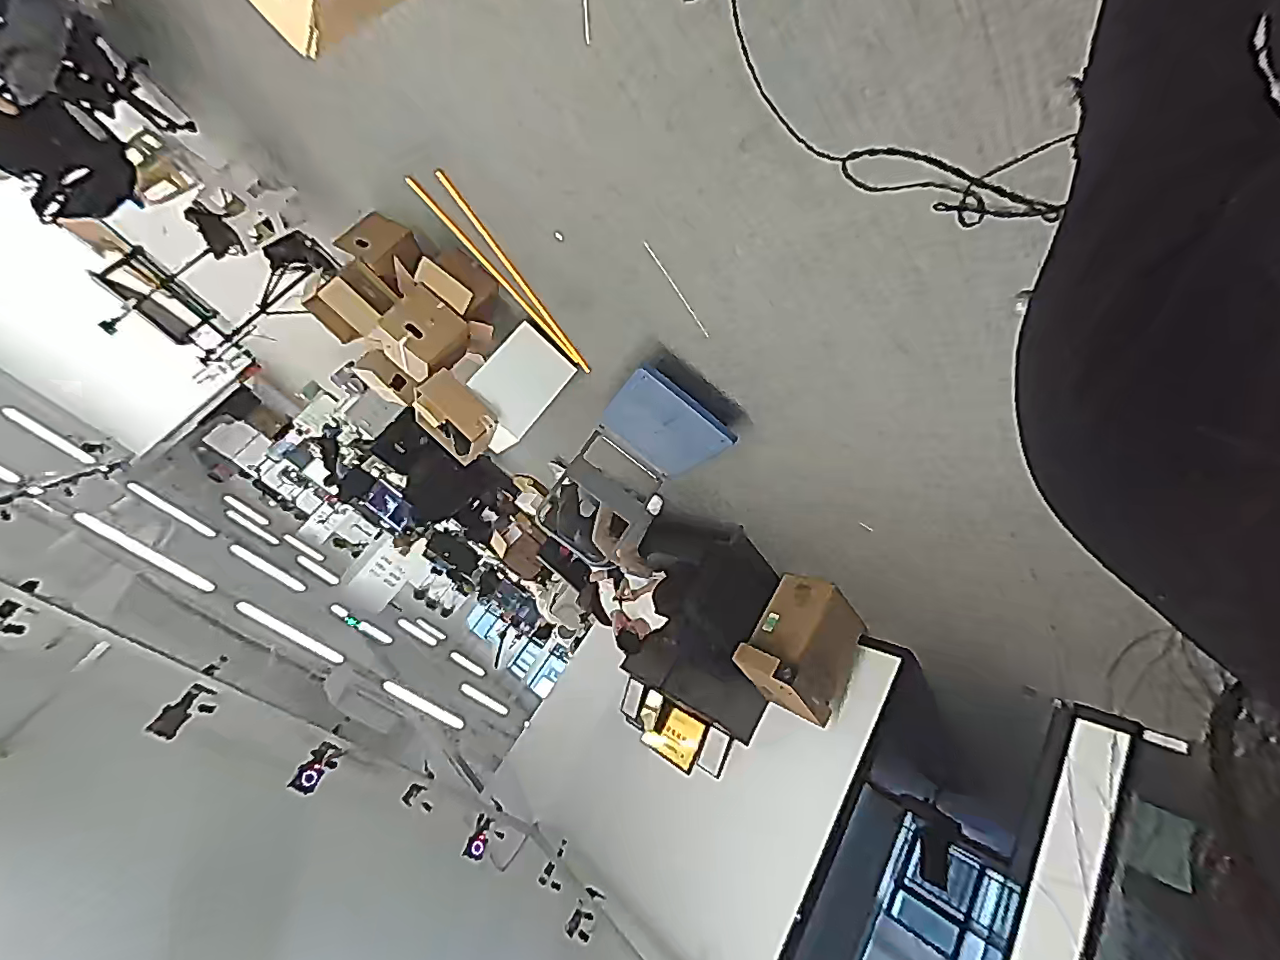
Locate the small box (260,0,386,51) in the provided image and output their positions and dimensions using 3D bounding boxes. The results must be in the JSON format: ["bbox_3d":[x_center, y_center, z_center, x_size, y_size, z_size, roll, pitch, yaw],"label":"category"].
[{"bbox_3d":[-0.175,-0.391,0.277,0.179,0.176,0.168,47,155,-27],"label":"small box"}]
